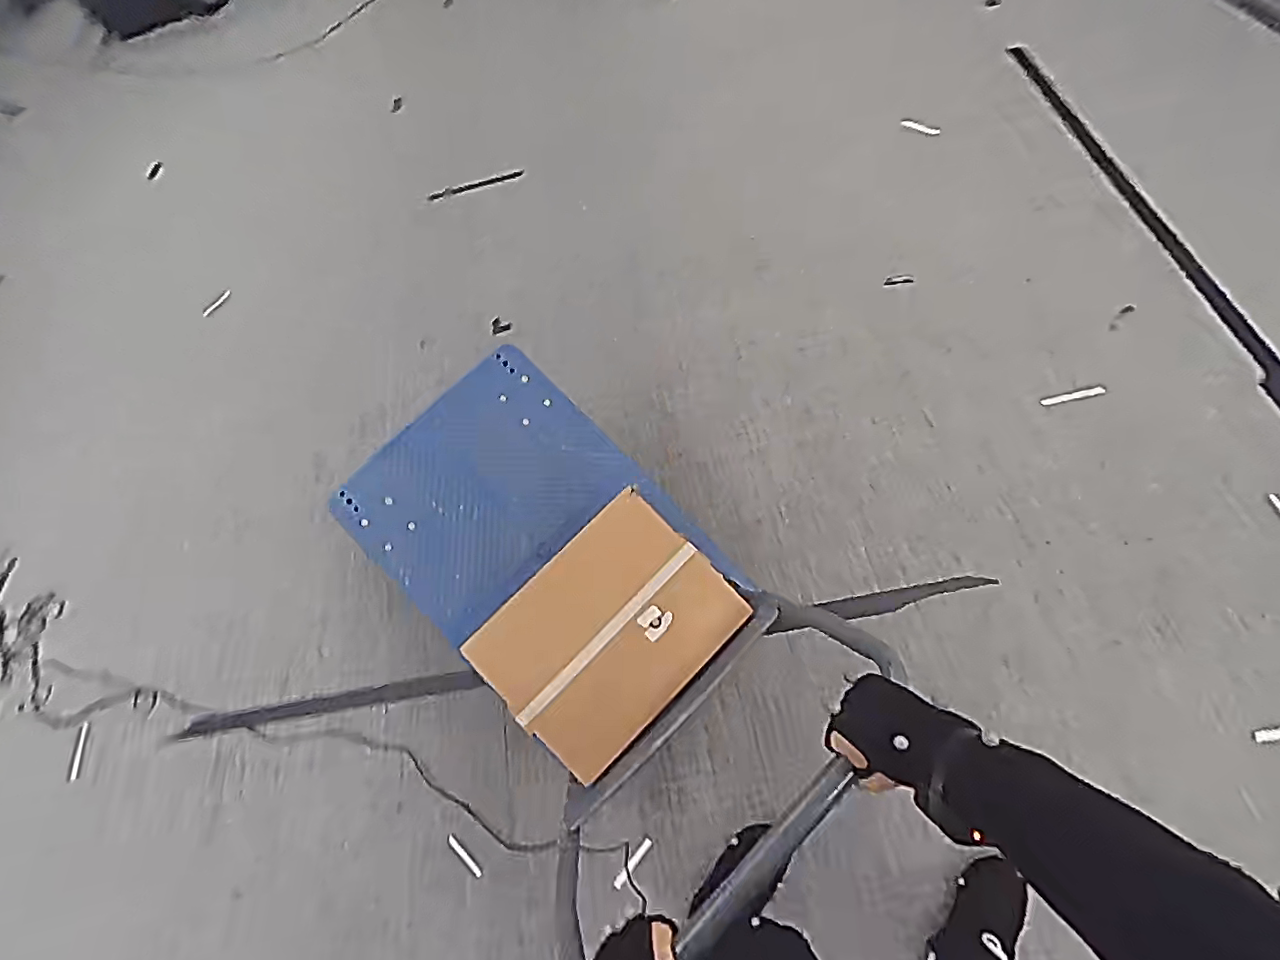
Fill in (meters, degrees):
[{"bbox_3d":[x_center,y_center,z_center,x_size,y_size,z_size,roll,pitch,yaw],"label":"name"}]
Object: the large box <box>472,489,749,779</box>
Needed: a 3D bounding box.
[{"bbox_3d":[-0.055,0.285,1.088,0.320,0.320,0.408,44,81,4],"label":"large box"}]
